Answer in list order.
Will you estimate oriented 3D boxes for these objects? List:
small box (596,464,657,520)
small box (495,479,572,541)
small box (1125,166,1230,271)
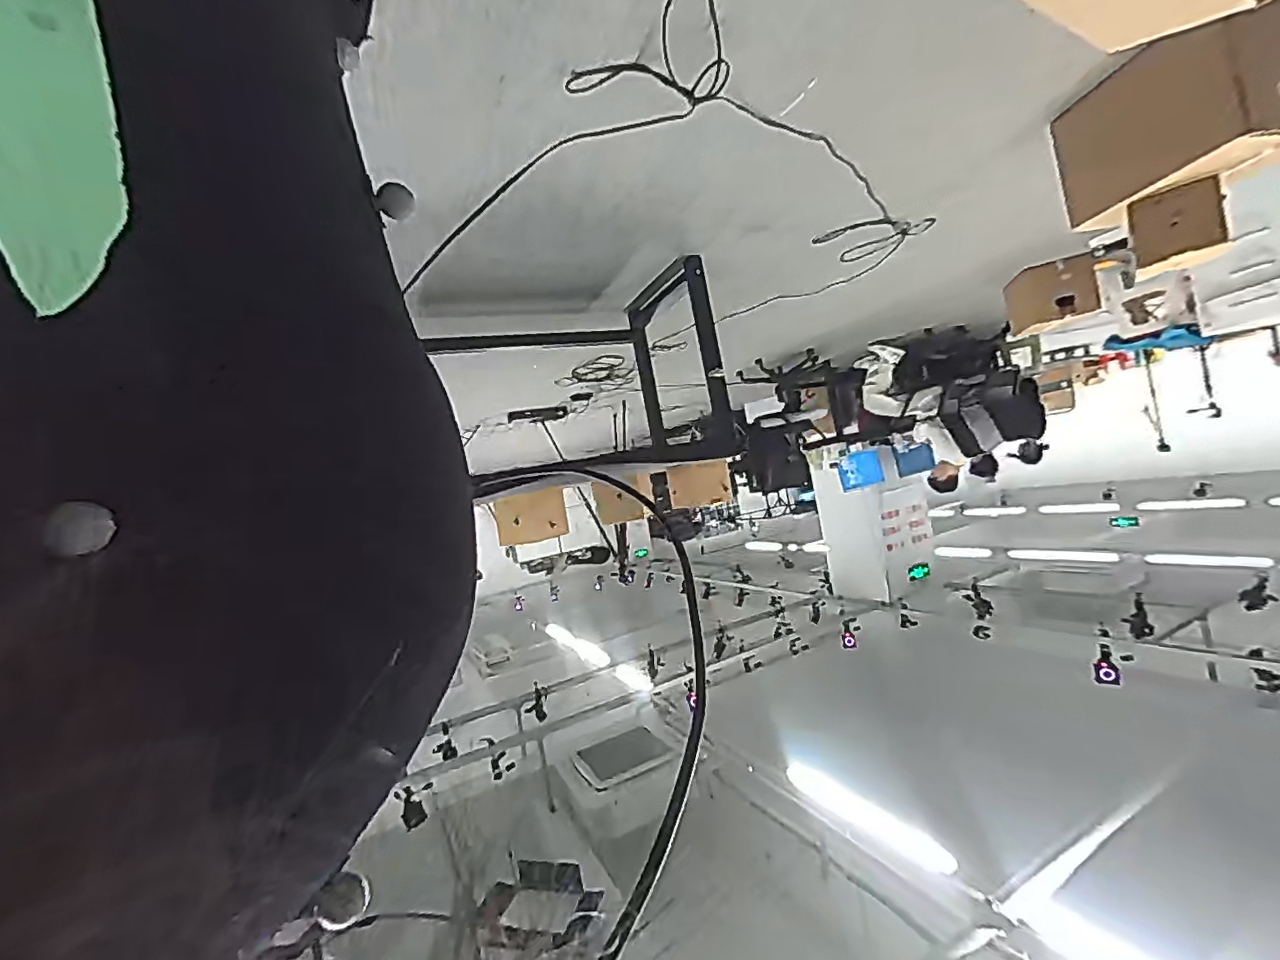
[{"bbox_3d":[-0.048,0.039,1.944,0.168,0.176,0.179,-10,-179,15],"label":"small box"},{"bbox_3d":[-0.358,0.099,1.806,0.168,0.176,0.179,-10,-178,35],"label":"small box"},{"bbox_3d":[1.356,-0.662,1.375,0.168,0.176,0.179,-10,178,42],"label":"small box"}]
